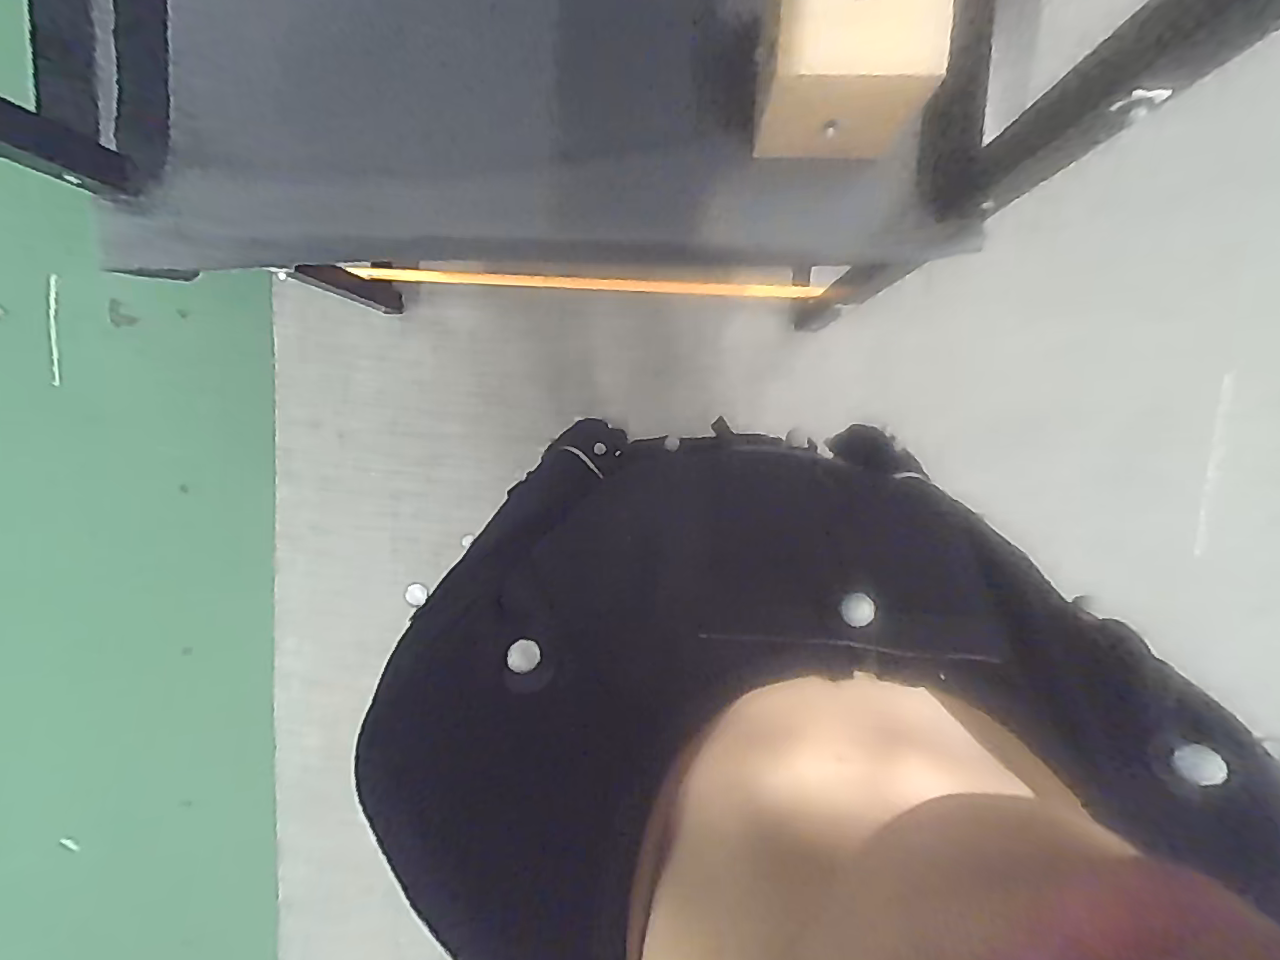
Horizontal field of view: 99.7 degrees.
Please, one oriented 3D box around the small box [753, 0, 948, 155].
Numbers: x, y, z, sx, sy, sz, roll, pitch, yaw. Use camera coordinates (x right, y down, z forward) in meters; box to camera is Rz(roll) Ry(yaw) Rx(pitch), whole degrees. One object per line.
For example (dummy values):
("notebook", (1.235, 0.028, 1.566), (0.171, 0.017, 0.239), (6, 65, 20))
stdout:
("small box", (0.224, -0.493, 0.605), (0.168, 0.176, 0.179), (3, 95, 3))
